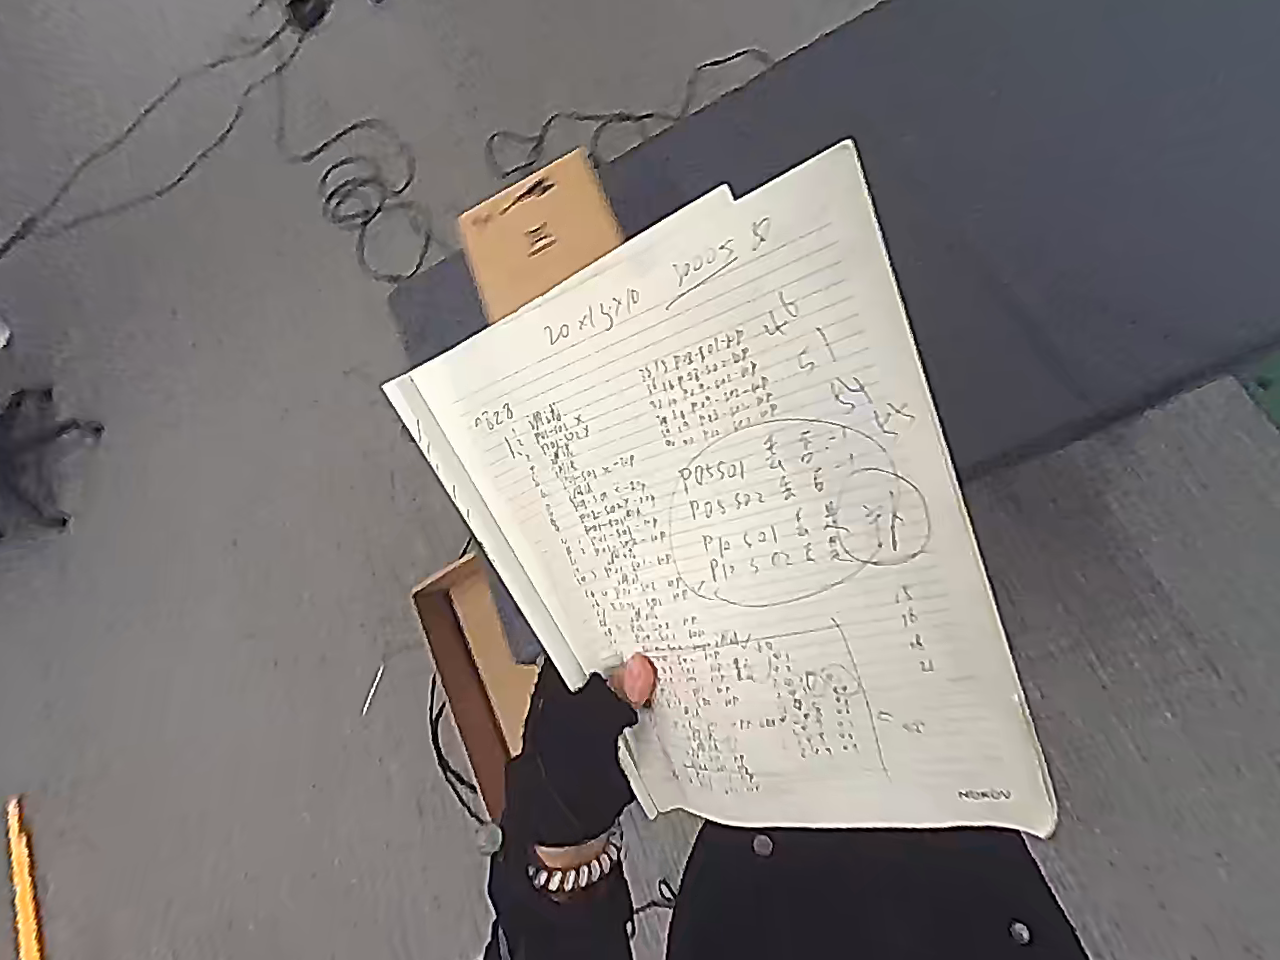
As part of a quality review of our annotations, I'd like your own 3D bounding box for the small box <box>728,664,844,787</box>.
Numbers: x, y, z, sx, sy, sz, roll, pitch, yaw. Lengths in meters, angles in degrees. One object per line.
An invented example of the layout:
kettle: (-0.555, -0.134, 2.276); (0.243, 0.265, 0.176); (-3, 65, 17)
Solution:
small box: (0.315, 0.529, 1.187); (0.179, 0.176, 0.168); (29, 97, 36)
